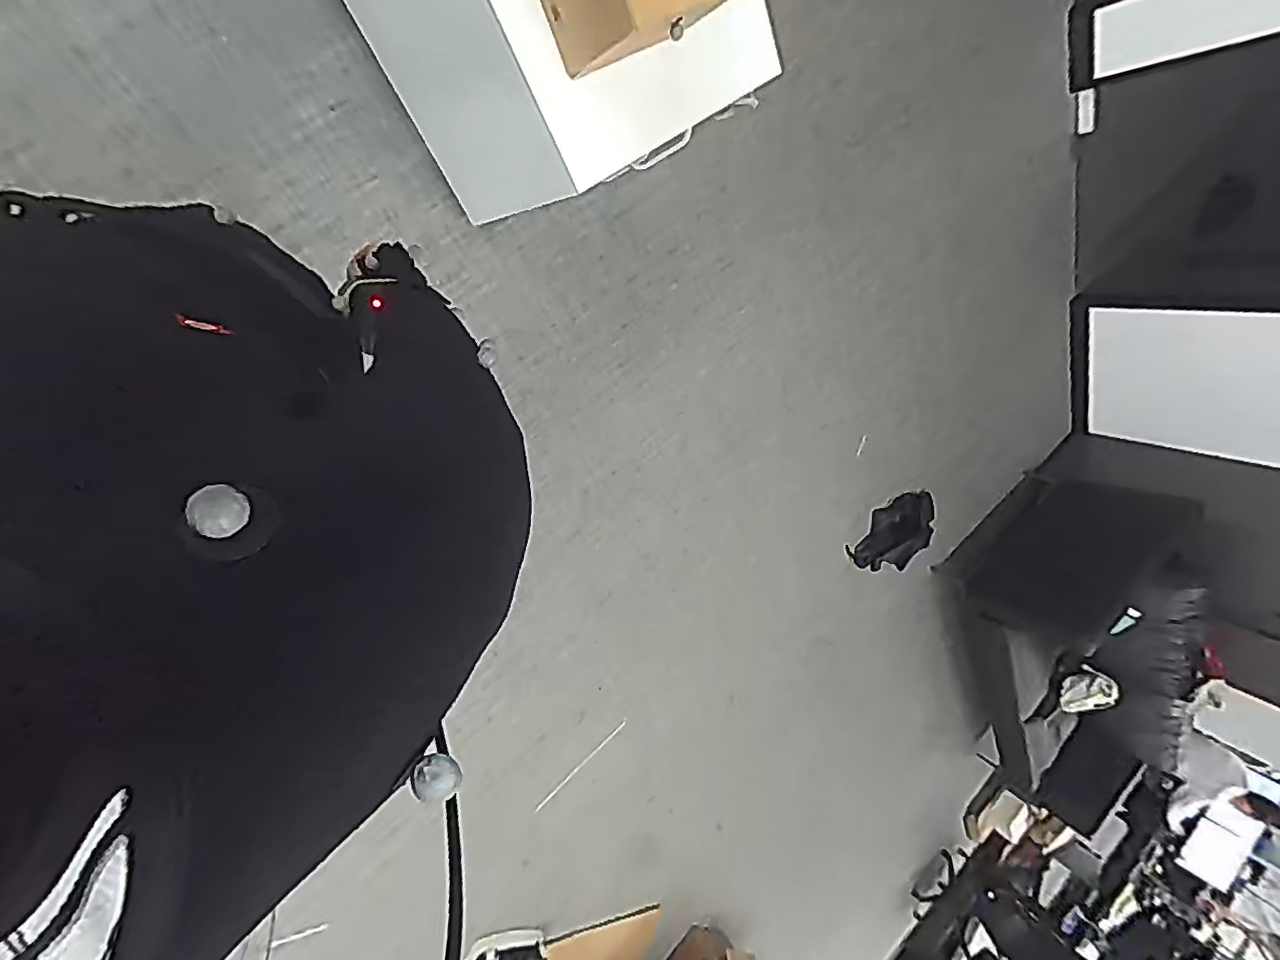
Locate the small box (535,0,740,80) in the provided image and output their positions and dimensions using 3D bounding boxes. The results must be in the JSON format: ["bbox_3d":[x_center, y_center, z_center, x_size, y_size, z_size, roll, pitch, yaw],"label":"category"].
[{"bbox_3d":[-0.014,-0.591,0.609,0.179,0.176,0.168,-36,123,-17],"label":"small box"}]
